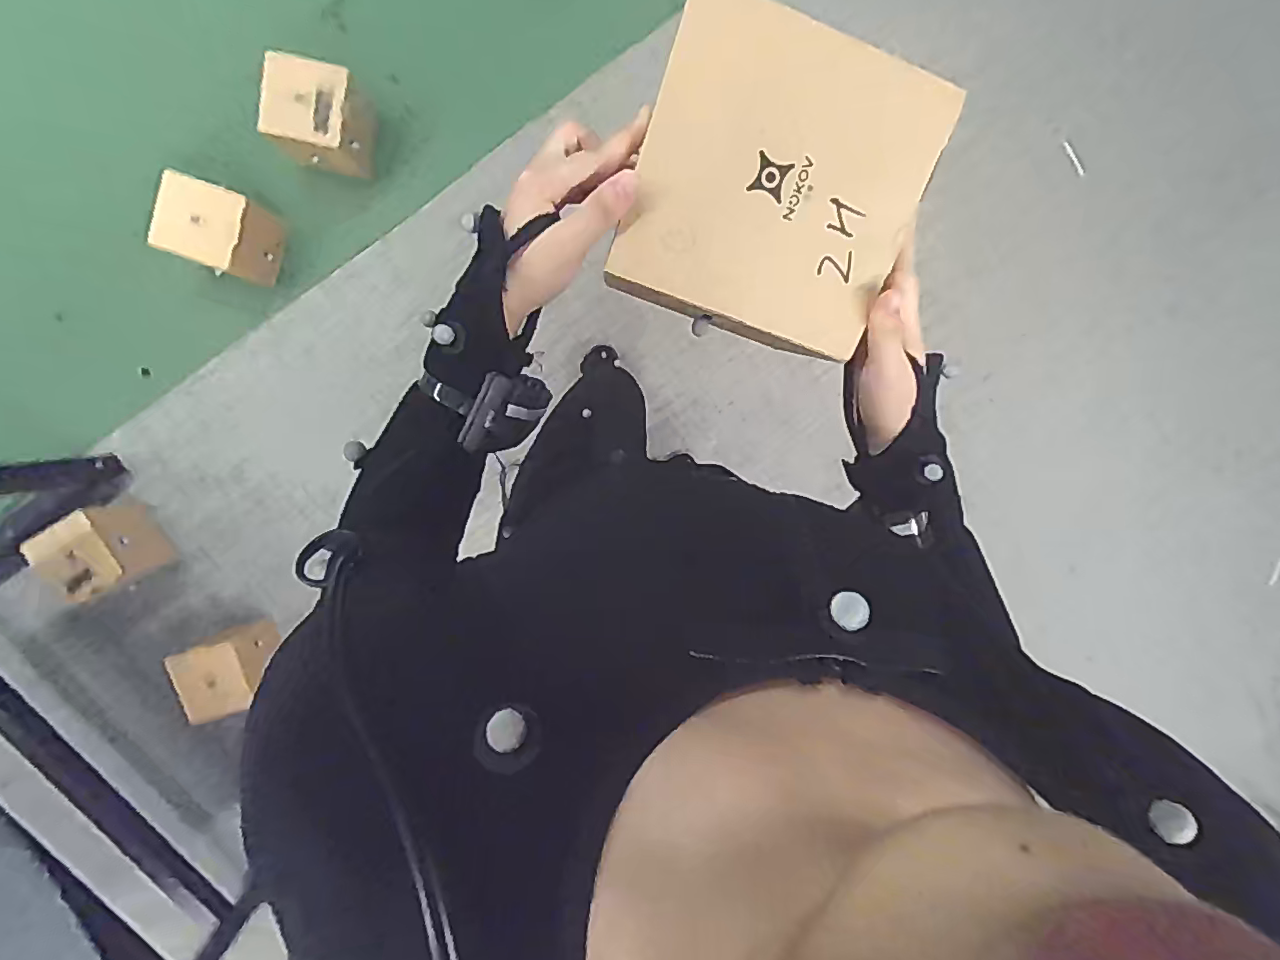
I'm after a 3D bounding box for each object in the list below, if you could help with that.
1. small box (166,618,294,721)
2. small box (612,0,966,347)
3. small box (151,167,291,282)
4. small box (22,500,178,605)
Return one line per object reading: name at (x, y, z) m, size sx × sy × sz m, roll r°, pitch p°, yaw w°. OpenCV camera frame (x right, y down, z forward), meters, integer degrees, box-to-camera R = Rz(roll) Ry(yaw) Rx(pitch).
small box at (-1.029, 0.469, 1.374) m, size 0.168 × 0.176 × 0.179 m, roll -16°, pitch 99°, yaw -2°
small box at (0.084, -0.208, 0.407) m, size 0.179 × 0.176 × 0.168 m, roll 17°, pitch 106°, yaw -9°
small box at (-0.960, -0.579, 1.253) m, size 0.179 × 0.176 × 0.168 m, roll 18°, pitch 95°, yaw -7°
small box at (-1.296, 0.168, 1.315) m, size 0.168 × 0.176 × 0.179 m, roll -31°, pitch 97°, yaw -1°
